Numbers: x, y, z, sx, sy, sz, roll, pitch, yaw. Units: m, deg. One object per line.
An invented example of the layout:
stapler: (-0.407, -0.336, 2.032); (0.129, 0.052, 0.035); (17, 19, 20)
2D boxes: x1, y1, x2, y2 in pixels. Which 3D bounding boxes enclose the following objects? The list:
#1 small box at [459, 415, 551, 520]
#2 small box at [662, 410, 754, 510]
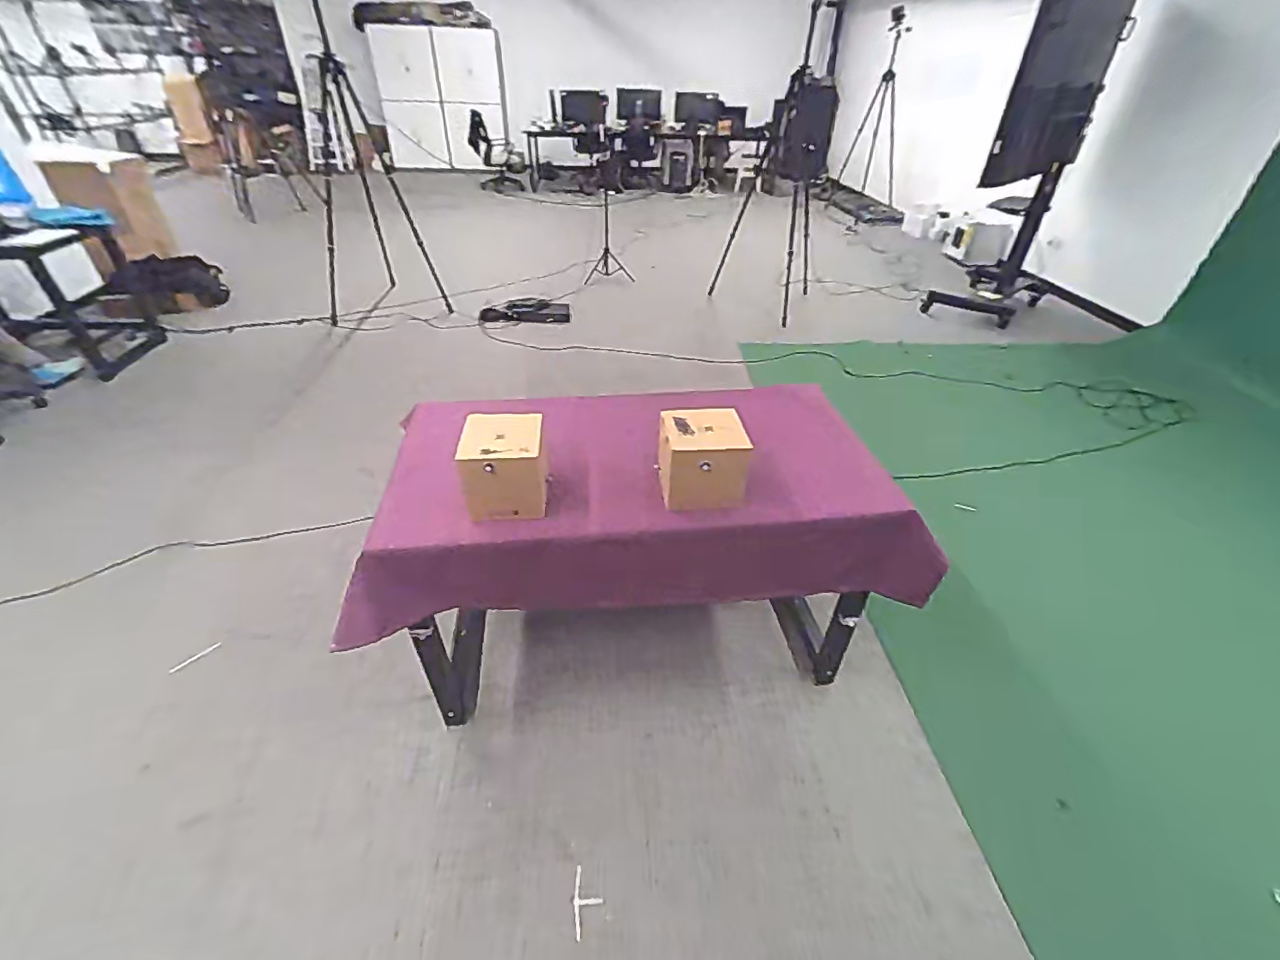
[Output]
small box: (-0.289, -0.030, 1.197); (0.168, 0.176, 0.179); (-2, 37, -4)
small box: (0.145, -0.045, 1.233); (0.179, 0.176, 0.168); (-2, 38, -5)
